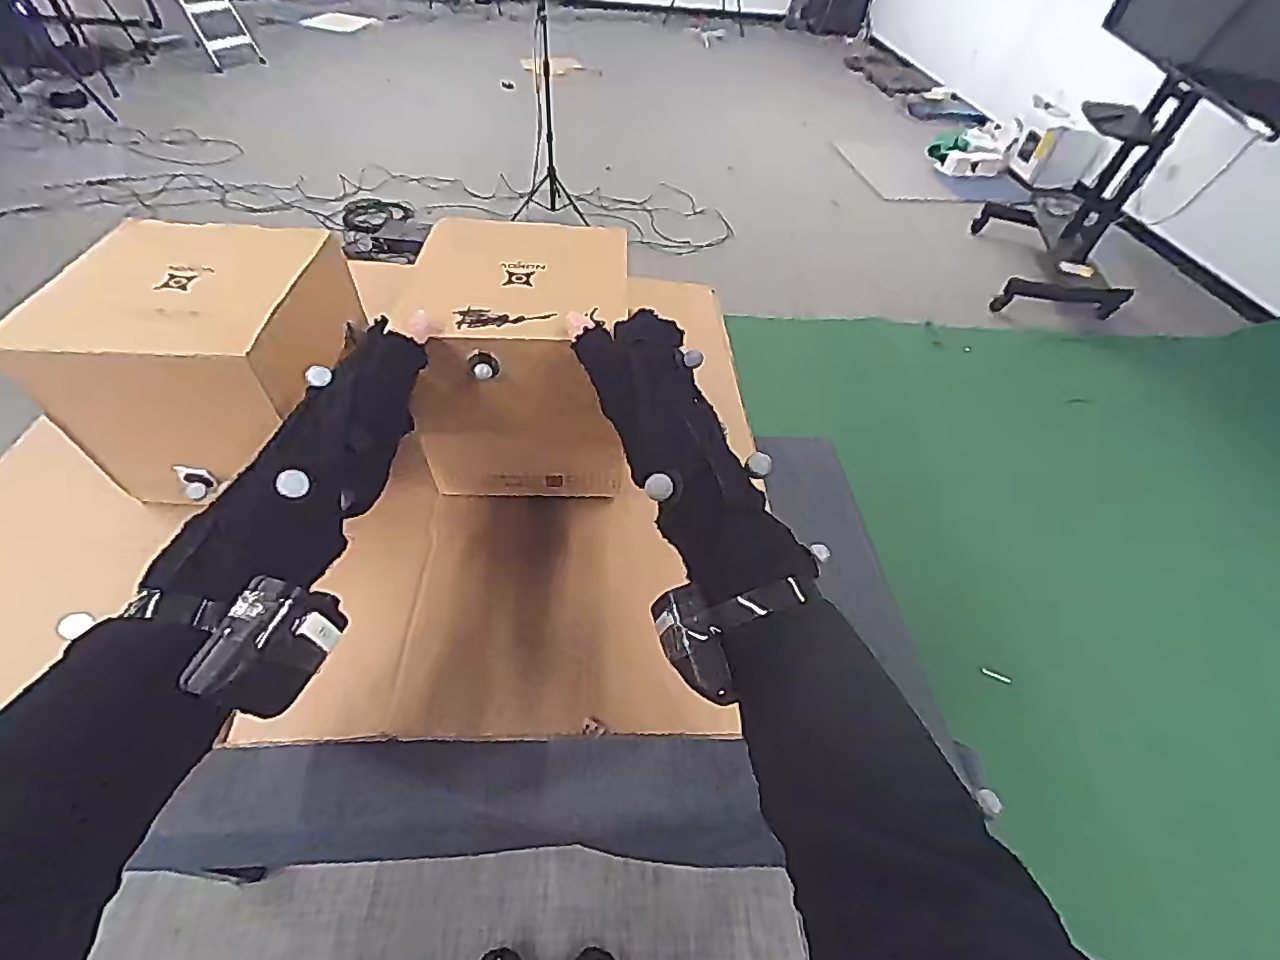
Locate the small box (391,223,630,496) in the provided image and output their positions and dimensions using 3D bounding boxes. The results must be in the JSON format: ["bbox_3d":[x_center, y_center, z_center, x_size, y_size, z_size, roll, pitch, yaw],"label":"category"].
[{"bbox_3d":[-0.095,-0.107,0.487,0.168,0.176,0.179,1,49,-2],"label":"small box"}]

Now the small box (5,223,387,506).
[{"bbox_3d":[-0.341,-0.097,0.470,0.168,0.176,0.179,0,52,-4],"label":"small box"}]
